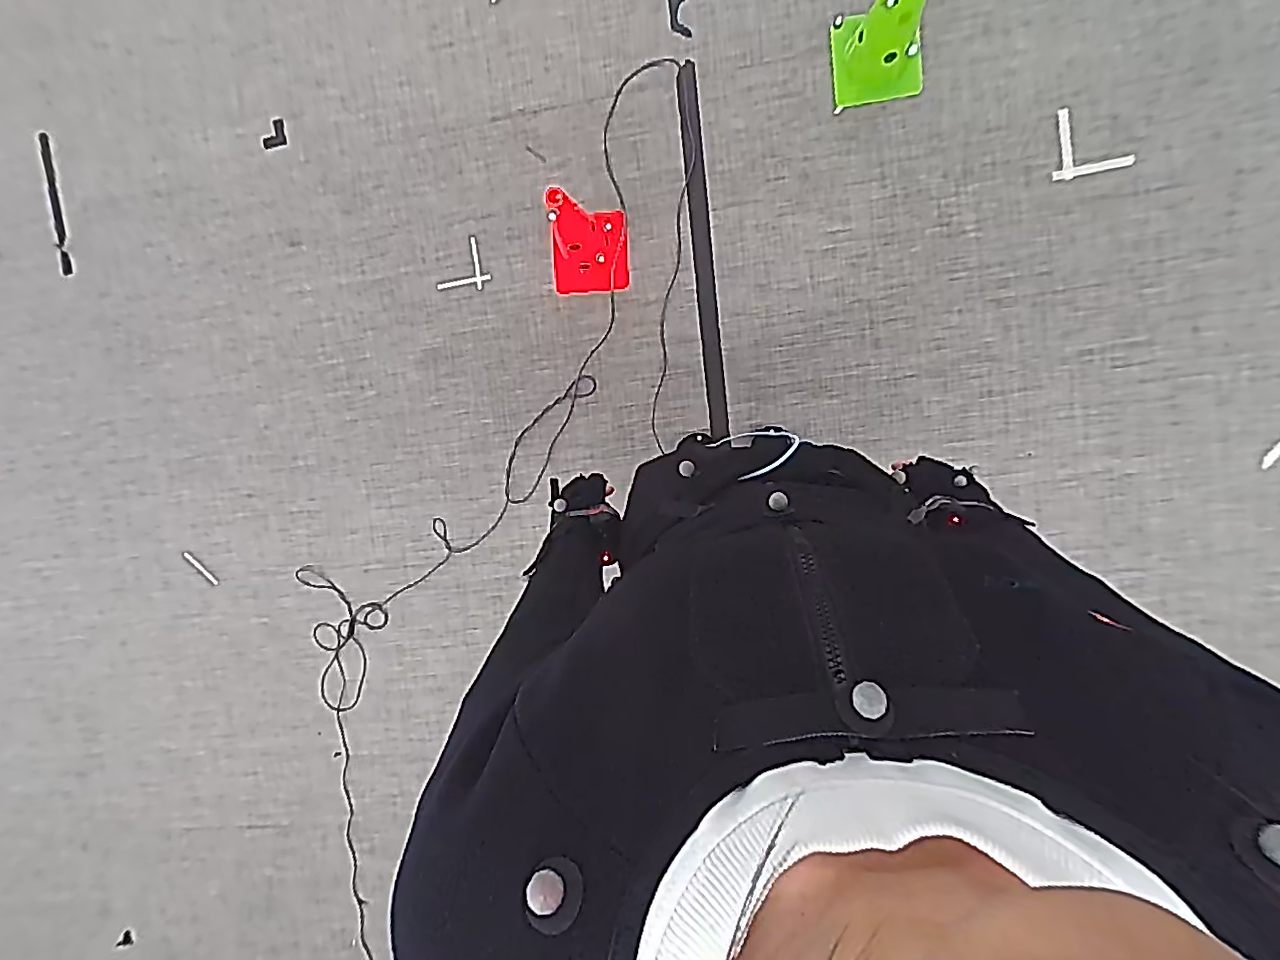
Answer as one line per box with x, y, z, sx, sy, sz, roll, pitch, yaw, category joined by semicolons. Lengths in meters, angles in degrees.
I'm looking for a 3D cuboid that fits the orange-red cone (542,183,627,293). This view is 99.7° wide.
-0.154;-0.575;1.233;0.199;0.360;0.198;-1;94;8;orange-red cone

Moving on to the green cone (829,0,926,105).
0.538;-0.984;1.107;0.202;0.368;0.200;-6;95;6;green cone
